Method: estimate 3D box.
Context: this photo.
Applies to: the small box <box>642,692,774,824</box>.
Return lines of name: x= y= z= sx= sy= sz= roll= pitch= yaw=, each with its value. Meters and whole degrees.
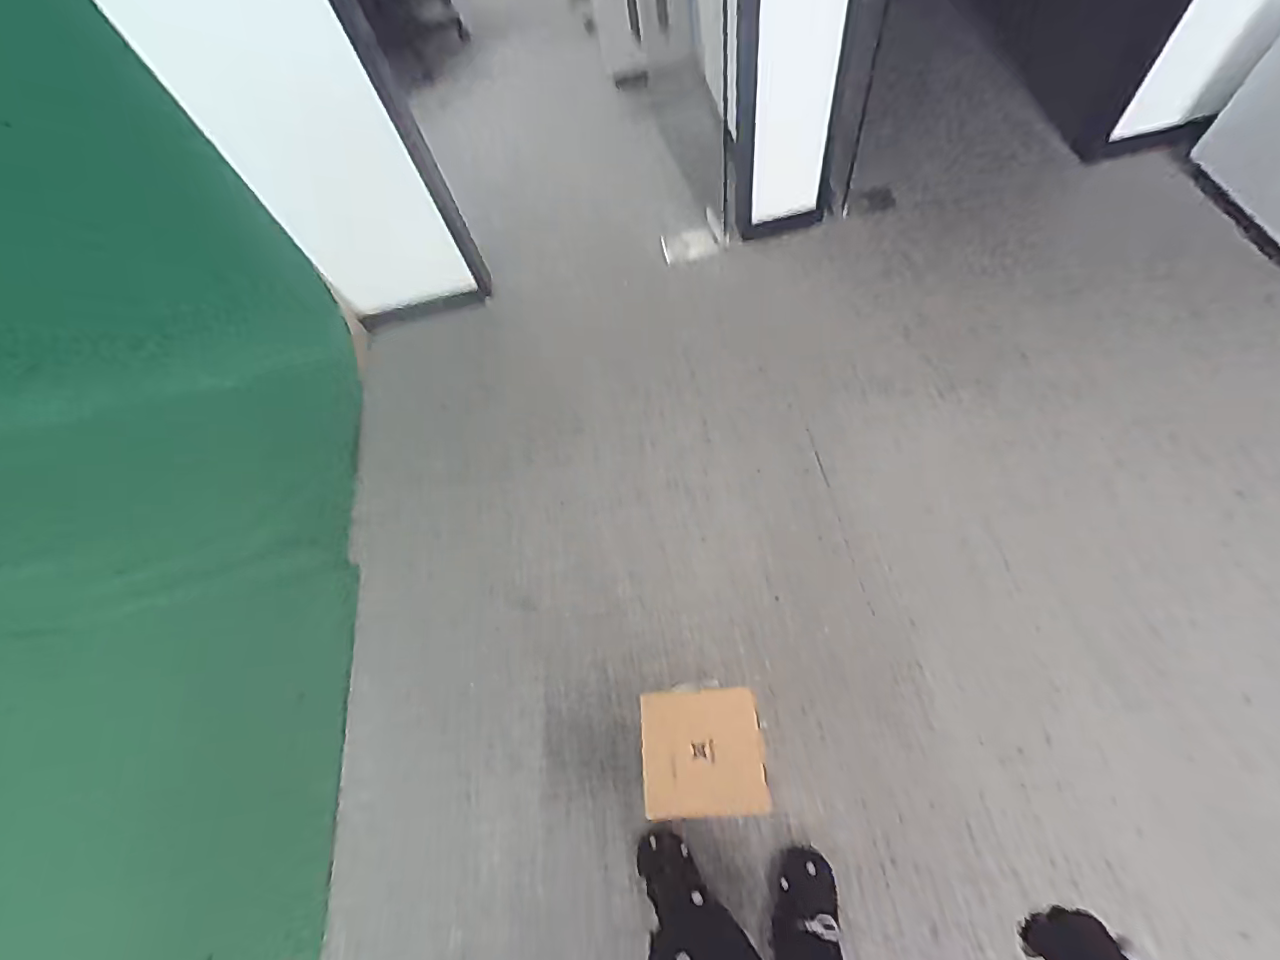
small box: x=0.105 y=0.436 z=0.850 sx=0.179 sy=0.176 sz=0.168 roll=-8 pitch=60 yaw=7
